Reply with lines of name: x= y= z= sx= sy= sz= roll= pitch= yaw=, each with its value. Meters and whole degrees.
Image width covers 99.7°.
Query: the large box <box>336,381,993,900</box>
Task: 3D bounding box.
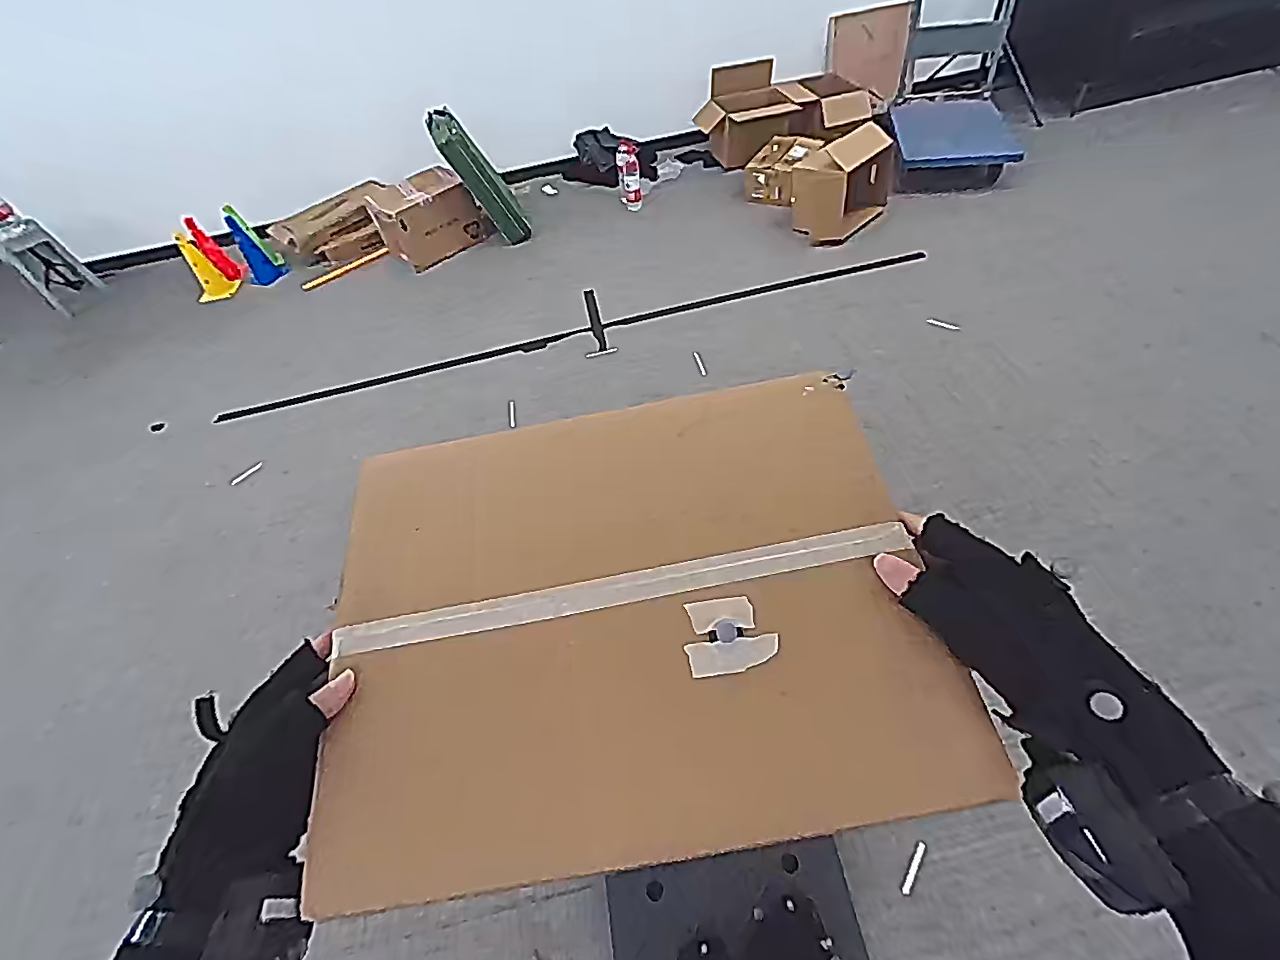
large box: x=0.004 y=0.155 z=0.519 sx=0.408 sy=0.320 sz=0.320 roll=-10 pitch=60 yaw=1
